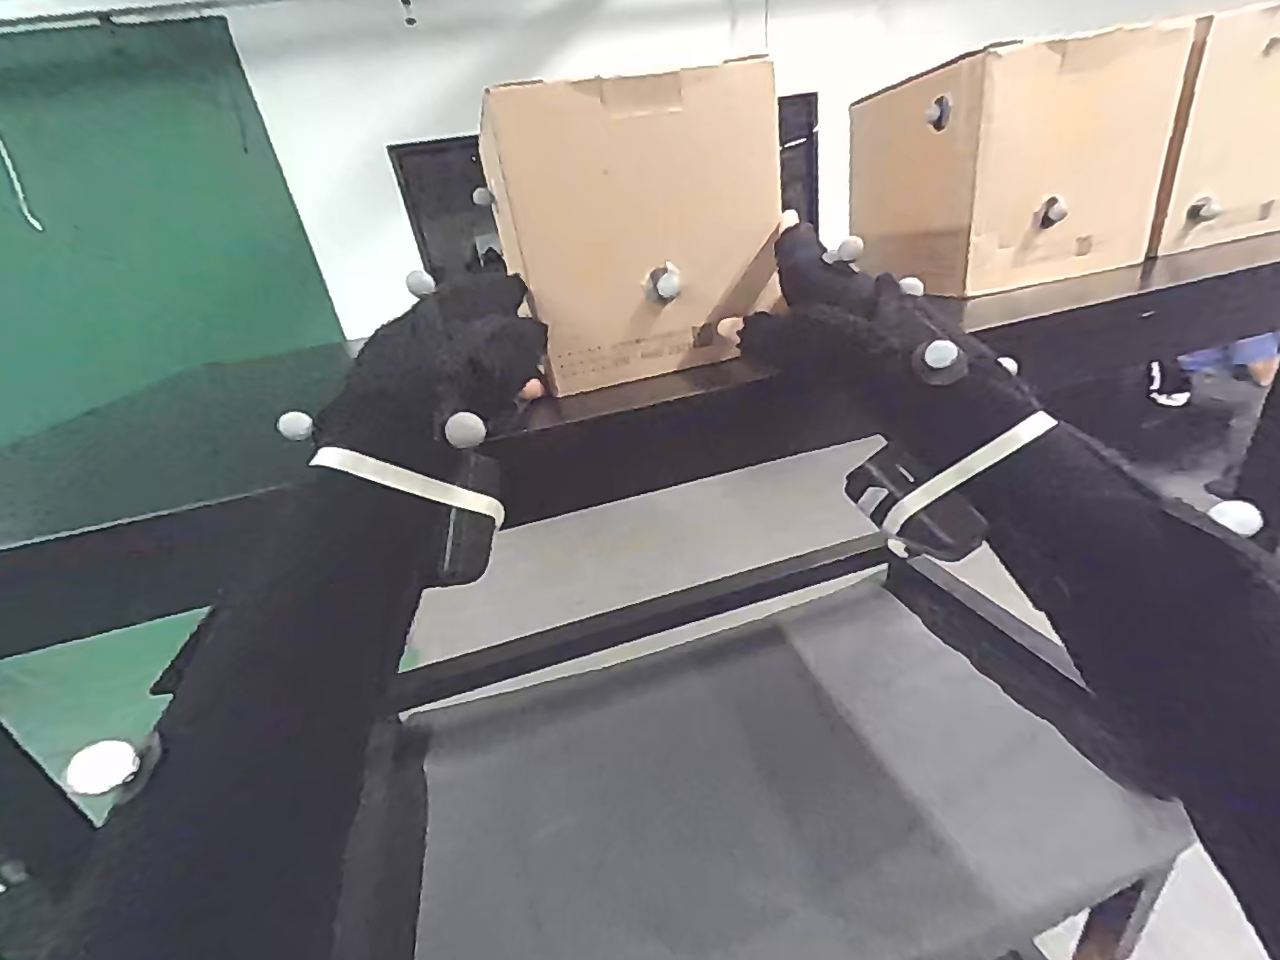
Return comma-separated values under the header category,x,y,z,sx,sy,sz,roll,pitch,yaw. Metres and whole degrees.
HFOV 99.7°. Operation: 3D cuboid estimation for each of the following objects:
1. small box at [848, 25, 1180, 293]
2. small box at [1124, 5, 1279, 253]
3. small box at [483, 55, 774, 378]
category,x,y,z,sx,sy,sz,roll,pitch,yaw
small box,0.303,-0.268,0.487,0.168,0.176,0.179,-12,25,-7
small box,0.478,-0.313,0.514,0.168,0.176,0.179,-13,24,-7
small box,-0.014,-0.182,0.405,0.168,0.176,0.179,-15,25,-11
